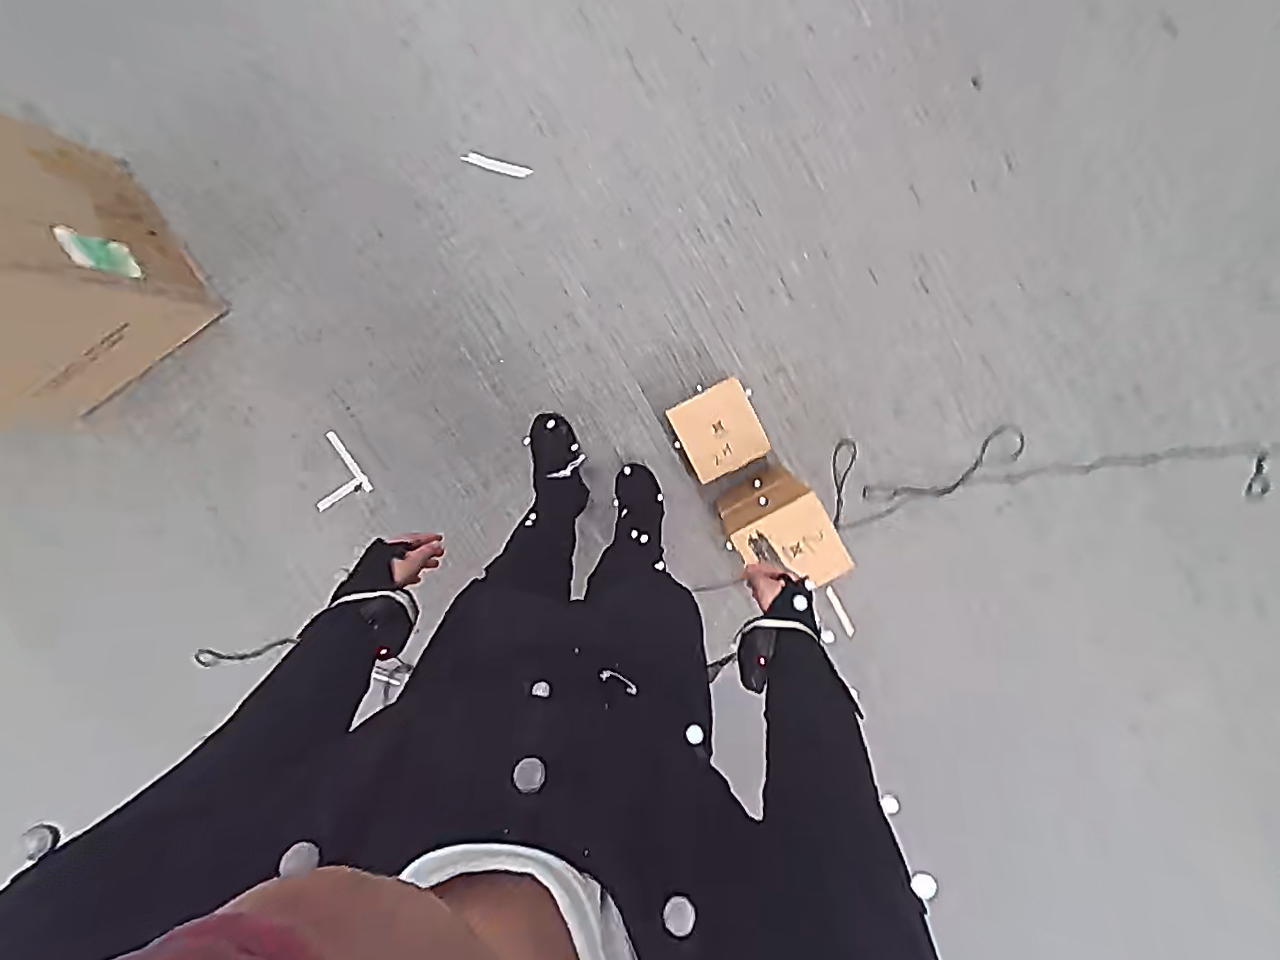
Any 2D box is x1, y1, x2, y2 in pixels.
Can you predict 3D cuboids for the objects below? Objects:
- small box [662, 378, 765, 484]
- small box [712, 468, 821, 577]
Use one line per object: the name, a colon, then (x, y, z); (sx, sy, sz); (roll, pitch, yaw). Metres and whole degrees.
small box: (0.157, -0.110, 1.205); (0.168, 0.176, 0.179); (-25, 96, 7)
small box: (0.279, 0.088, 1.232); (0.179, 0.176, 0.168); (-30, 97, 9)
